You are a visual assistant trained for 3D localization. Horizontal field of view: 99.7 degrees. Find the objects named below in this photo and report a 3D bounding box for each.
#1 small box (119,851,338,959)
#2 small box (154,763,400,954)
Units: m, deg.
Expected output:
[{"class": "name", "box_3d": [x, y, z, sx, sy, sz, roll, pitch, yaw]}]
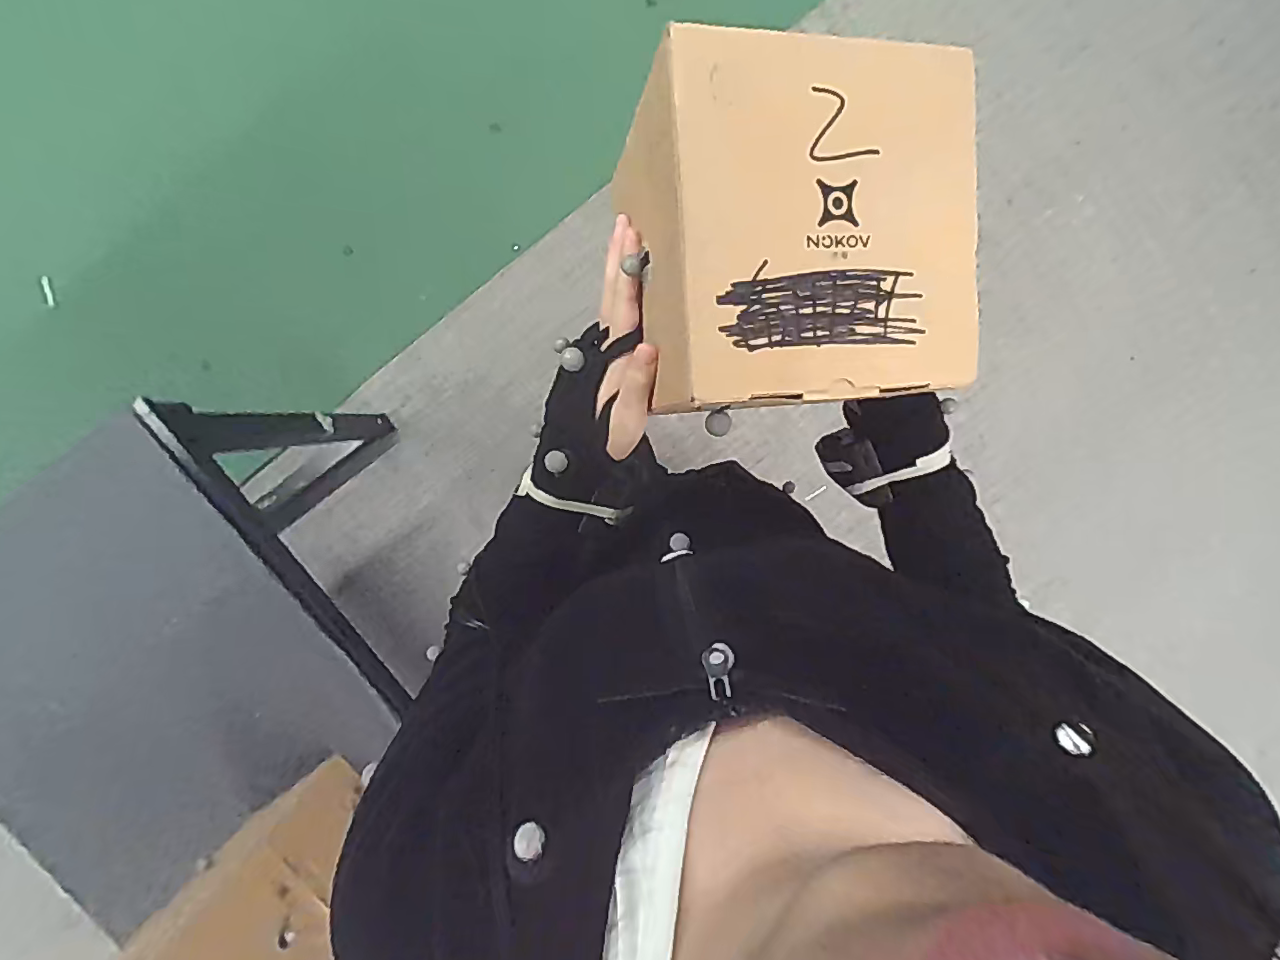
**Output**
[{"class": "small box", "box_3d": [-0.465, 0.549, 0.562, 0.179, 0.176, 0.168, -38, 95, 4]}, {"class": "small box", "box_3d": [-0.464, 0.531, 0.723, 0.179, 0.176, 0.168, -38, 96, 4]}]
